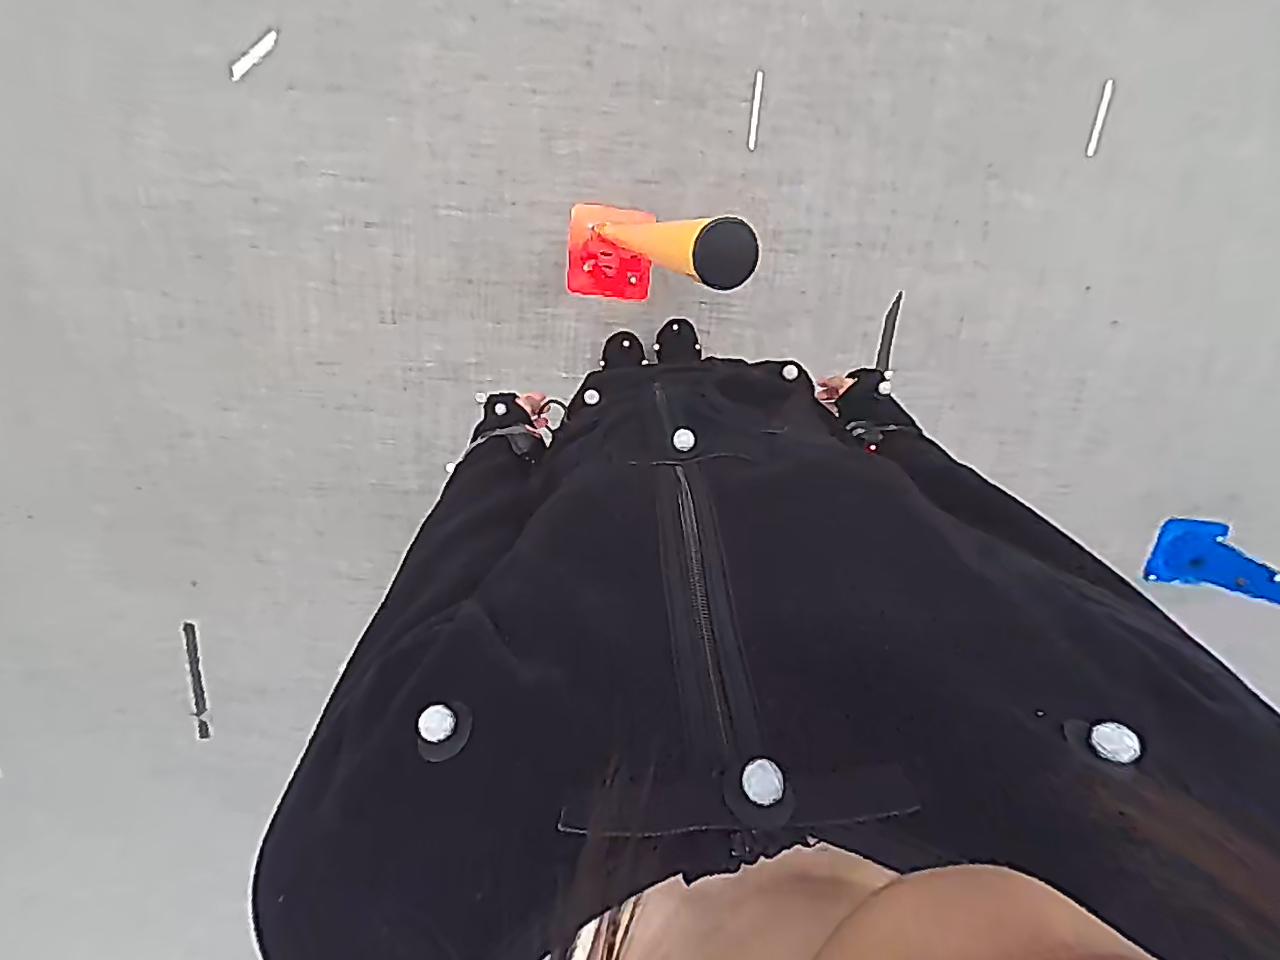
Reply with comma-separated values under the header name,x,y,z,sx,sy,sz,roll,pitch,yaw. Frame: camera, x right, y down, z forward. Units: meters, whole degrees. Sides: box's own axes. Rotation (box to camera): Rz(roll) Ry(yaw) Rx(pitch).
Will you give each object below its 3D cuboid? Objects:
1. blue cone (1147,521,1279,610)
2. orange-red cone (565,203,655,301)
name,x,y,z,sx,sy,sz,roll,pitch,yaw
blue cone,1.596,0.261,1.417,0.193,0.380,0.192,7,107,-4
orange-red cone,-0.064,-0.485,1.105,0.198,0.360,0.199,6,106,-4
